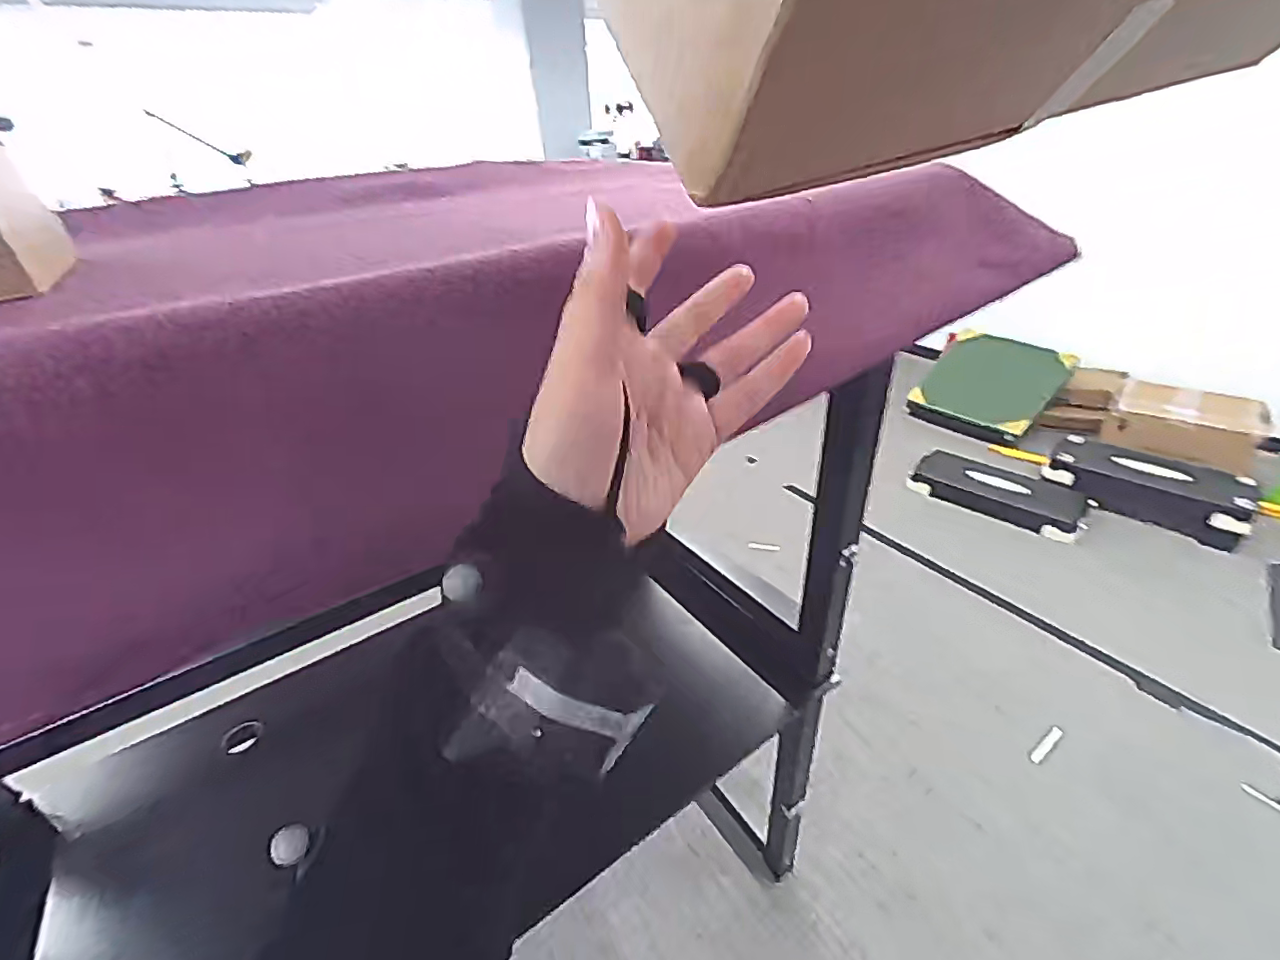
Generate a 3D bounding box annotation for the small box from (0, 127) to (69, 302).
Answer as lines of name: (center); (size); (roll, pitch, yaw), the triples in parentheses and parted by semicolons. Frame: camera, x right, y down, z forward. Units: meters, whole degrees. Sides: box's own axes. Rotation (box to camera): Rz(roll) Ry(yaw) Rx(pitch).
small box: (-0.473, -0.183, 0.294); (0.168, 0.176, 0.179); (-25, 39, -27)
